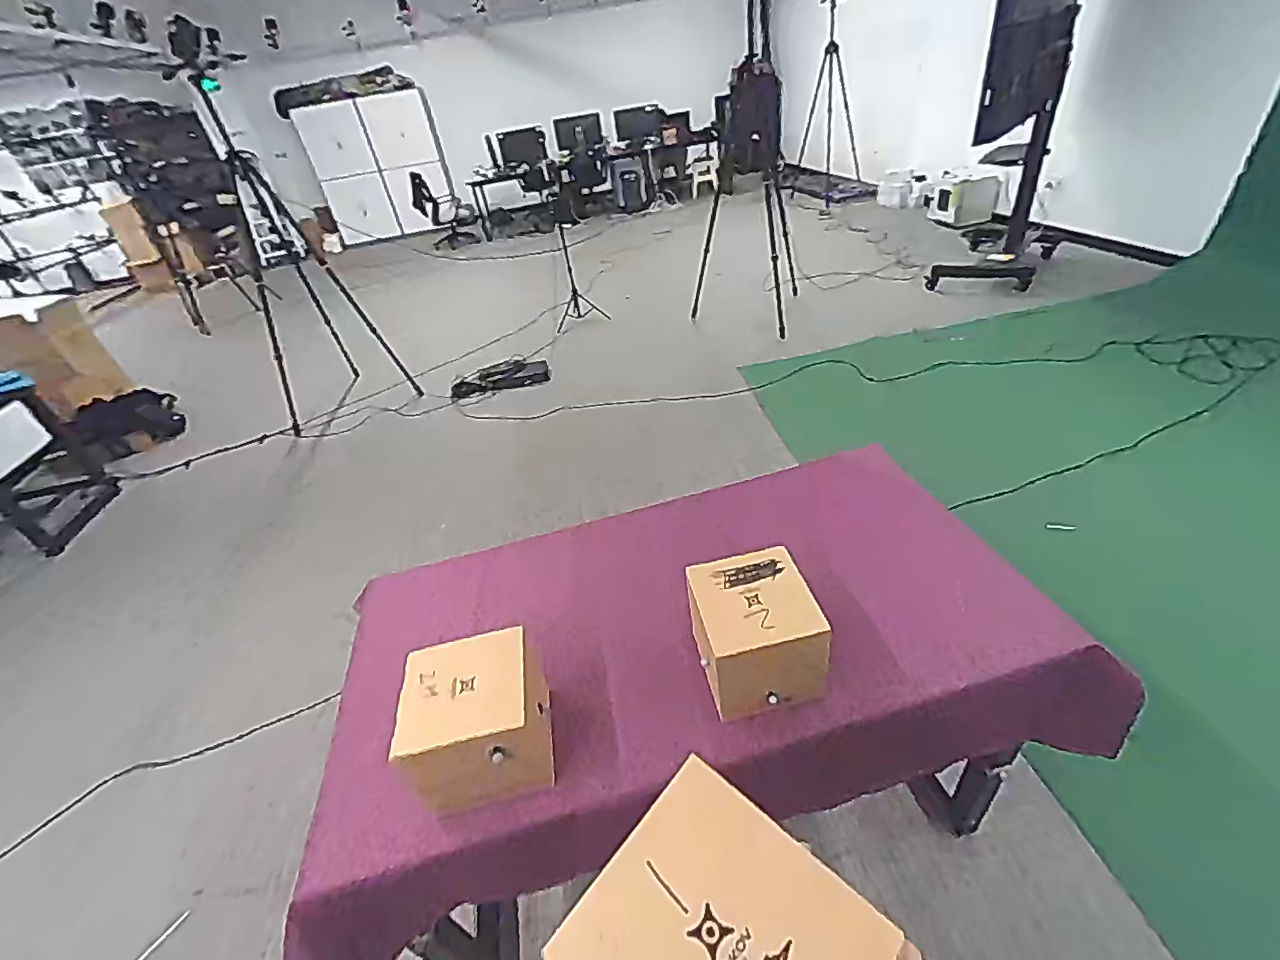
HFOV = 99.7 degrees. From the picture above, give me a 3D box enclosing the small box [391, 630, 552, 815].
[{"bbox_3d":[-0.231,0.354,0.793,0.179,0.176,0.168,-14,35,-3],"label":"small box"}]
